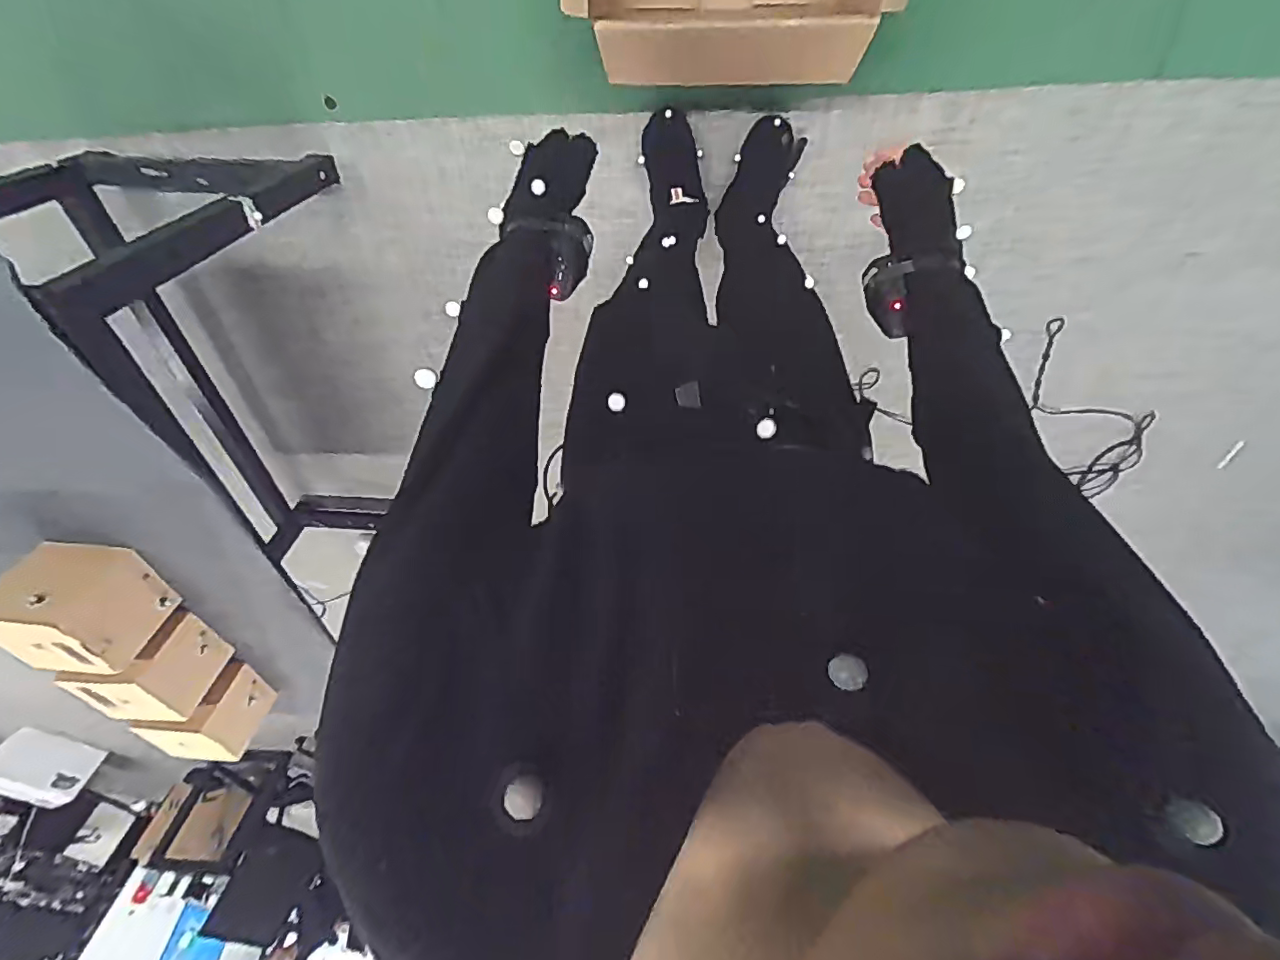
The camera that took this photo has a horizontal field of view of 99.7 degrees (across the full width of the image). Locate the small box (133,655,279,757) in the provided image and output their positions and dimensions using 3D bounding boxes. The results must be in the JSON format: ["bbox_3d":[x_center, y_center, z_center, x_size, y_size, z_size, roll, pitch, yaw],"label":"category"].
[{"bbox_3d":[-1.021,0.535,1.290,0.179,0.176,0.168,2,133,5],"label":"small box"}]
